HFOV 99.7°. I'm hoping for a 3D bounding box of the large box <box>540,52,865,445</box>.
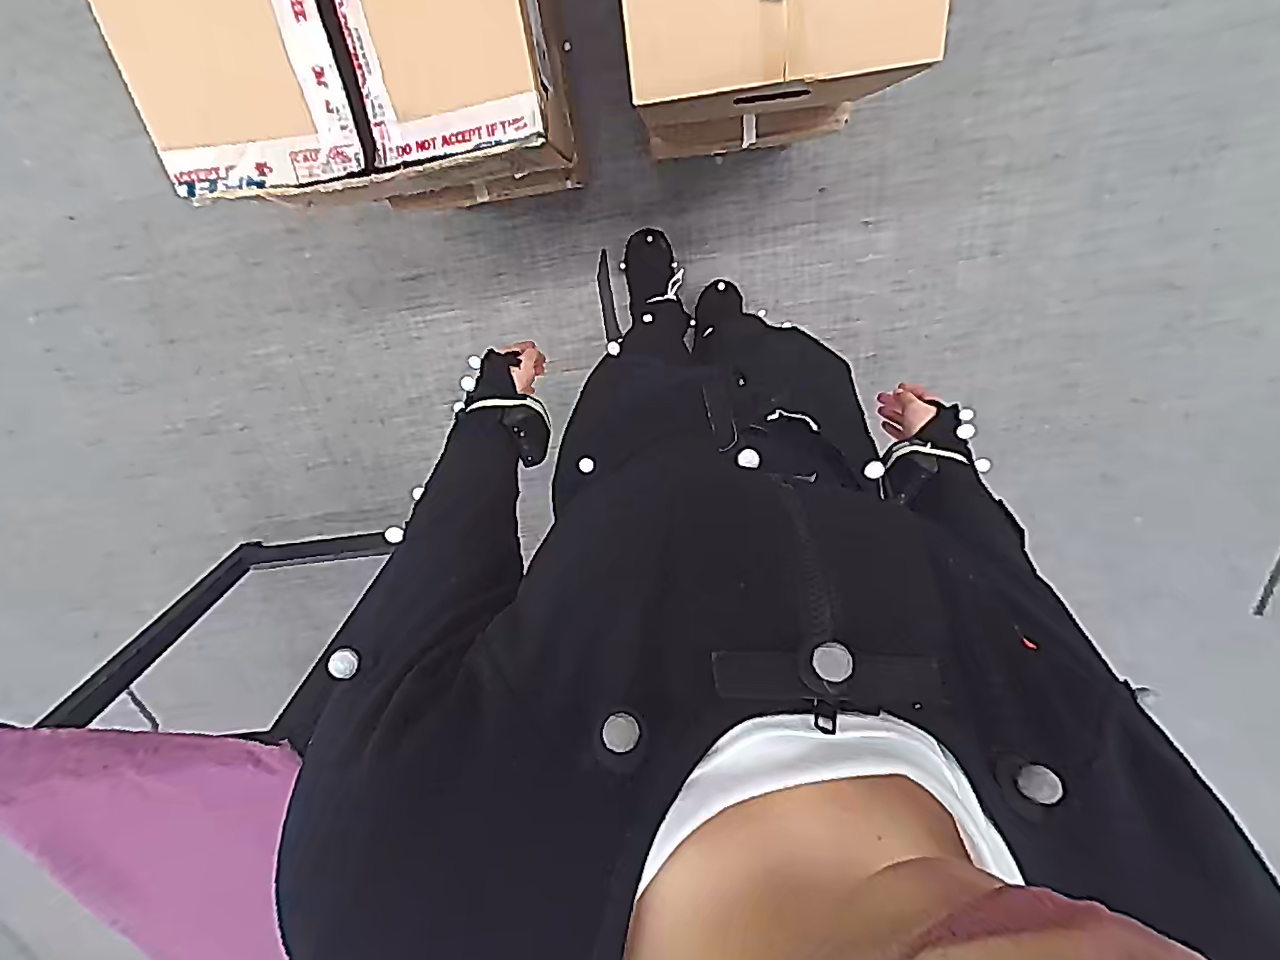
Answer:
[{"bbox_3d":[0.111,-0.315,0.845,0.320,0.320,0.408,-31,151,15],"label":"large box"}]
